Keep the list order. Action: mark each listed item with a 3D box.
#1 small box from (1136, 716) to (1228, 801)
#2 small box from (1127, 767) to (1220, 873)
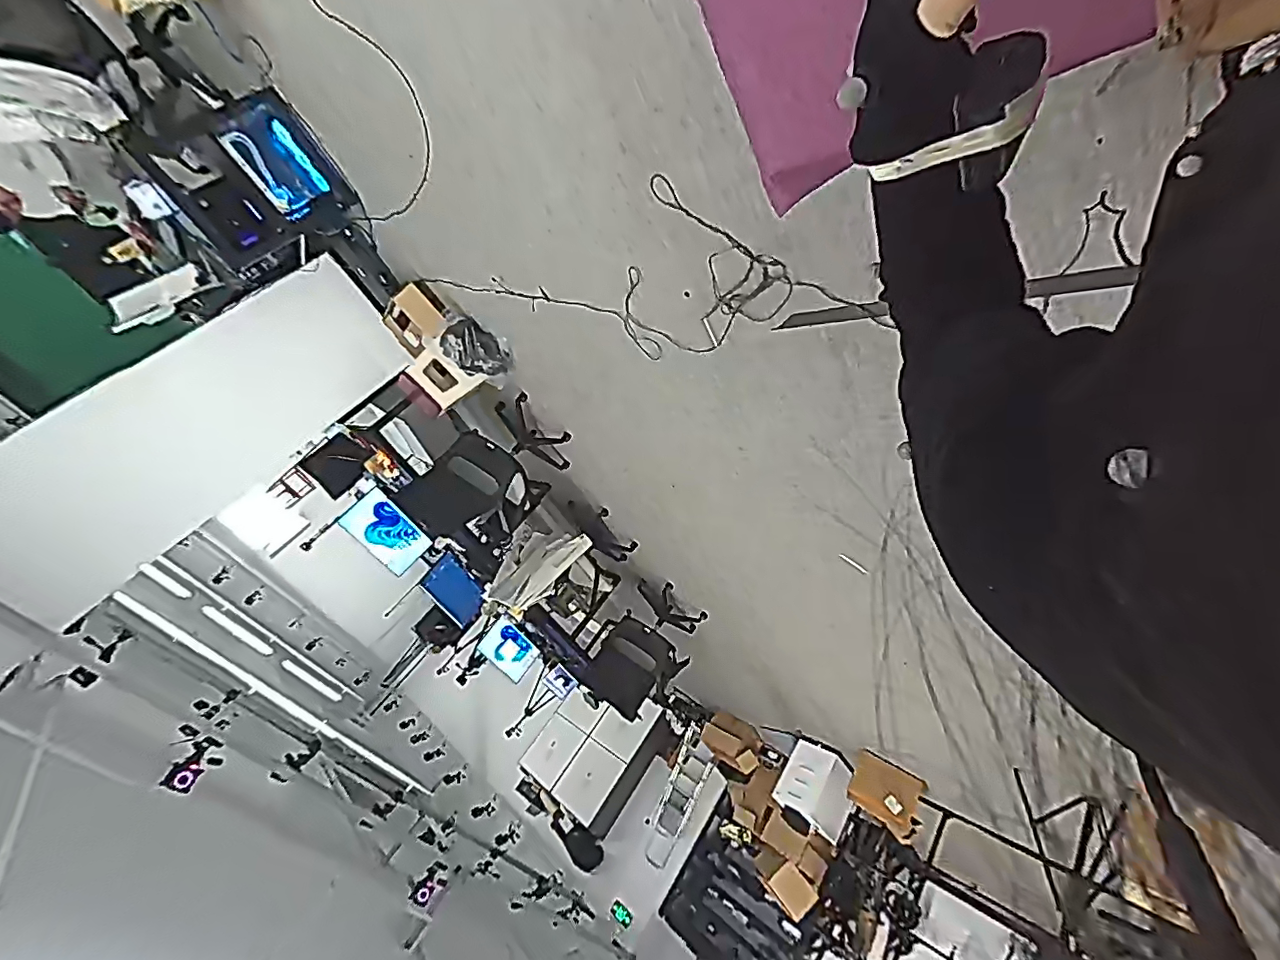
[{"bbox_3d":[1.602,0.836,1.599,0.168,0.176,0.179,13,144,43],"label":"small box"},{"bbox_3d":[1.511,0.955,1.533,0.168,0.176,0.179,11,141,46],"label":"small box"}]
